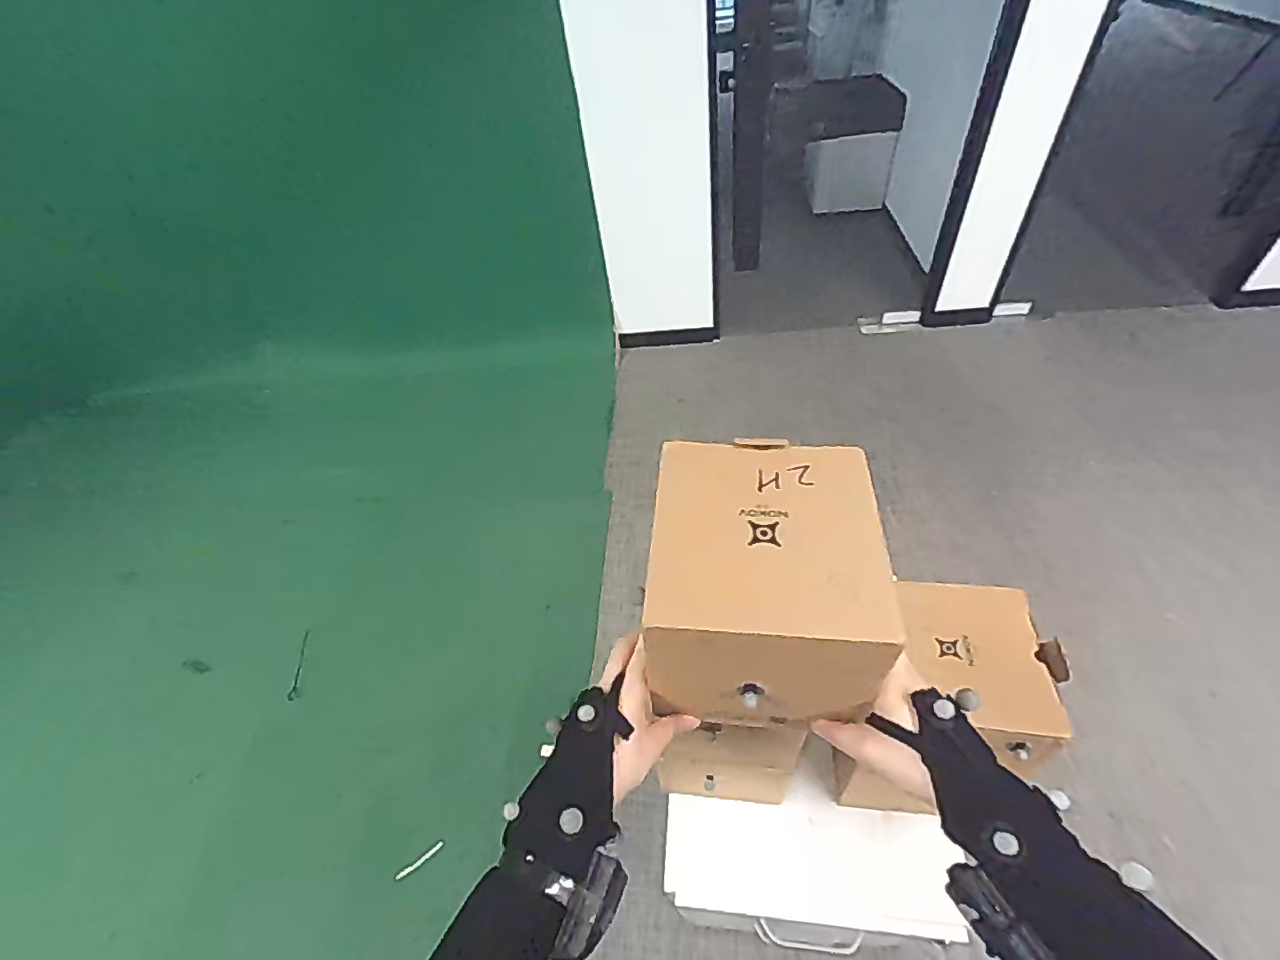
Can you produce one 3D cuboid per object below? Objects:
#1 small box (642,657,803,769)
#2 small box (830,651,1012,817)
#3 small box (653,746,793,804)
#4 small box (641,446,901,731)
[{"bbox_3d":[0.104,0.238,0.662,0.179,0.176,0.168,2,48,8],"label":"small box"},{"bbox_3d":[0.365,0.349,0.746,0.179,0.176,0.168,-1,47,11],"label":"small box"},{"bbox_3d":[0.121,0.352,0.780,0.179,0.176,0.168,1,48,9],"label":"small box"},{"bbox_3d":[0.097,0.092,0.454,0.168,0.176,0.179,3,47,7],"label":"small box"}]
